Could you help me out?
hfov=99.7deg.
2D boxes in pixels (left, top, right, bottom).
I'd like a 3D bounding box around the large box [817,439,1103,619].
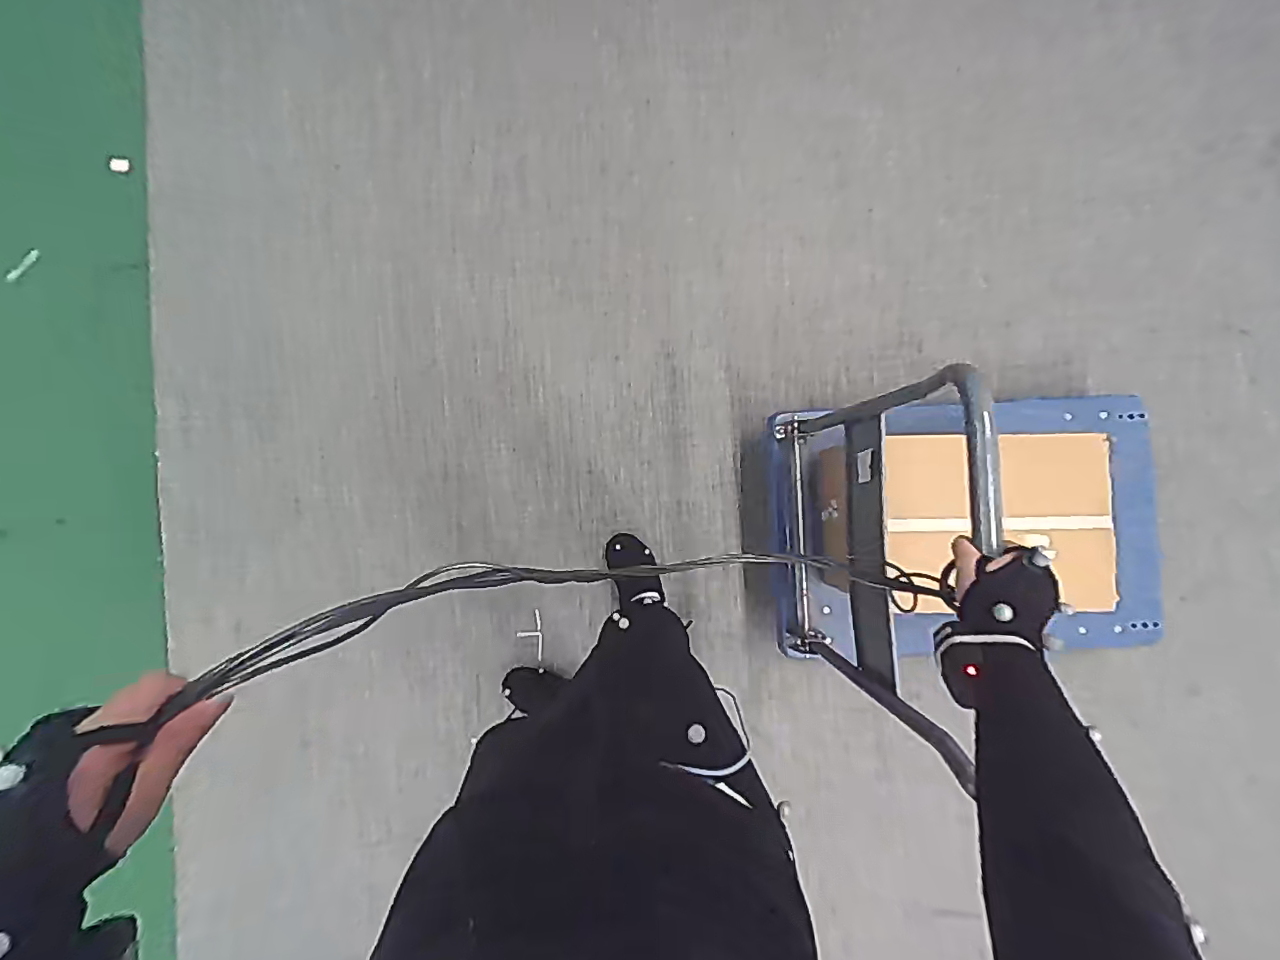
[{"bbox_3d":[0.611,0.091,1.102,0.408,0.320,0.320,-1,89,-1],"label":"large box"}]
